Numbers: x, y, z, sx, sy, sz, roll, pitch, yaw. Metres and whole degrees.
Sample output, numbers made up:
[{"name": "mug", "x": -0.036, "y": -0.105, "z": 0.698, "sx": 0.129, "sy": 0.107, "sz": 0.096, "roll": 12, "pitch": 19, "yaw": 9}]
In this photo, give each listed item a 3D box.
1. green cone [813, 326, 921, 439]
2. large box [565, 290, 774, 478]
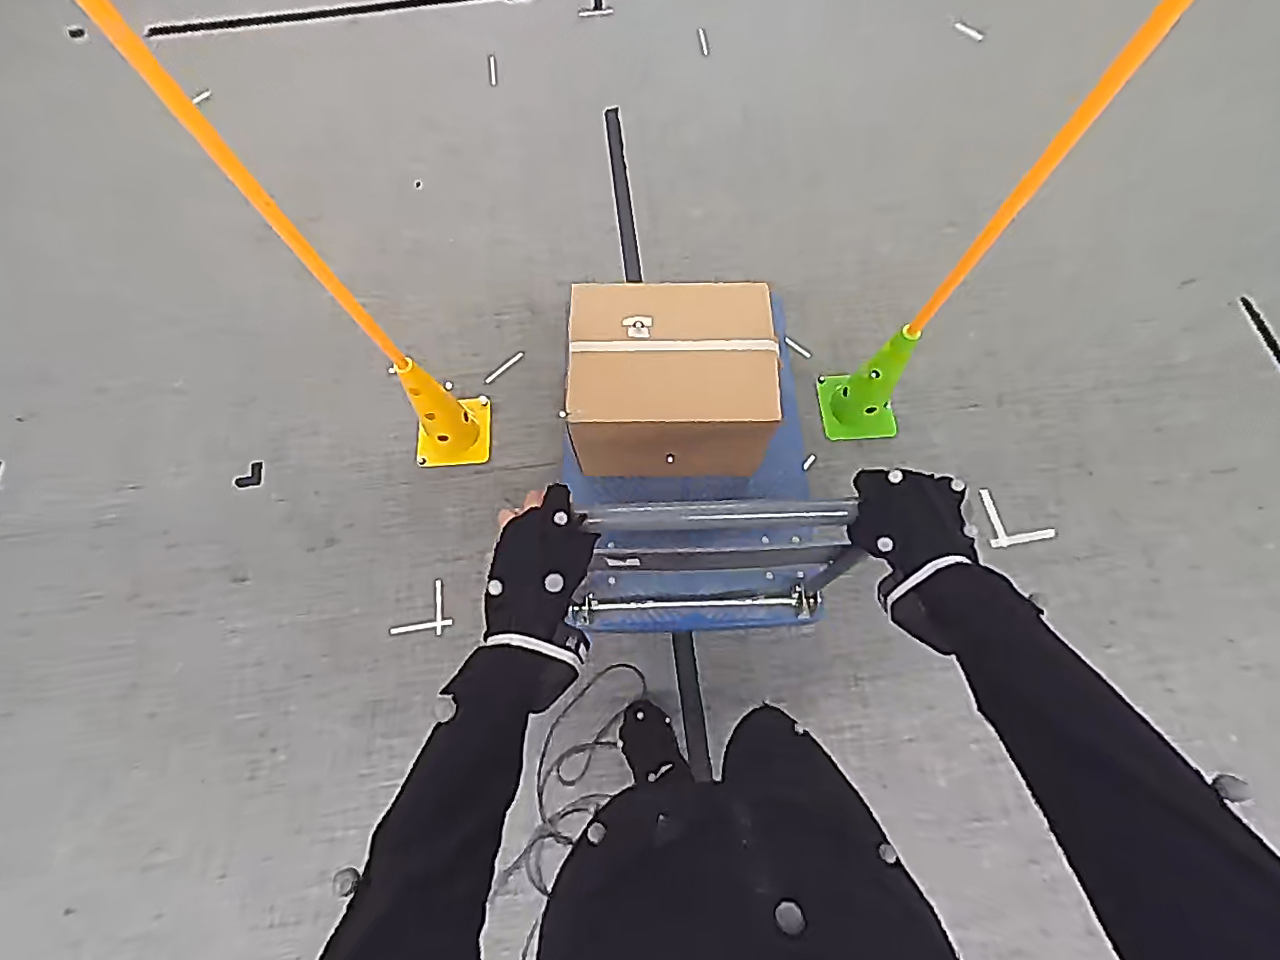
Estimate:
[{"name": "green cone", "x": 0.605, "y": -0.266, "z": 1.379, "sx": 0.202, "sy": 0.368, "sz": 0.200, "roll": -3, "pitch": 71, "yaw": -1}, {"name": "large box", "x": 0.059, "y": -0.196, "z": 1.212, "sx": 0.408, "sy": 0.320, "sz": 0.320, "roll": -1, "pitch": 71, "yaw": 1}]
